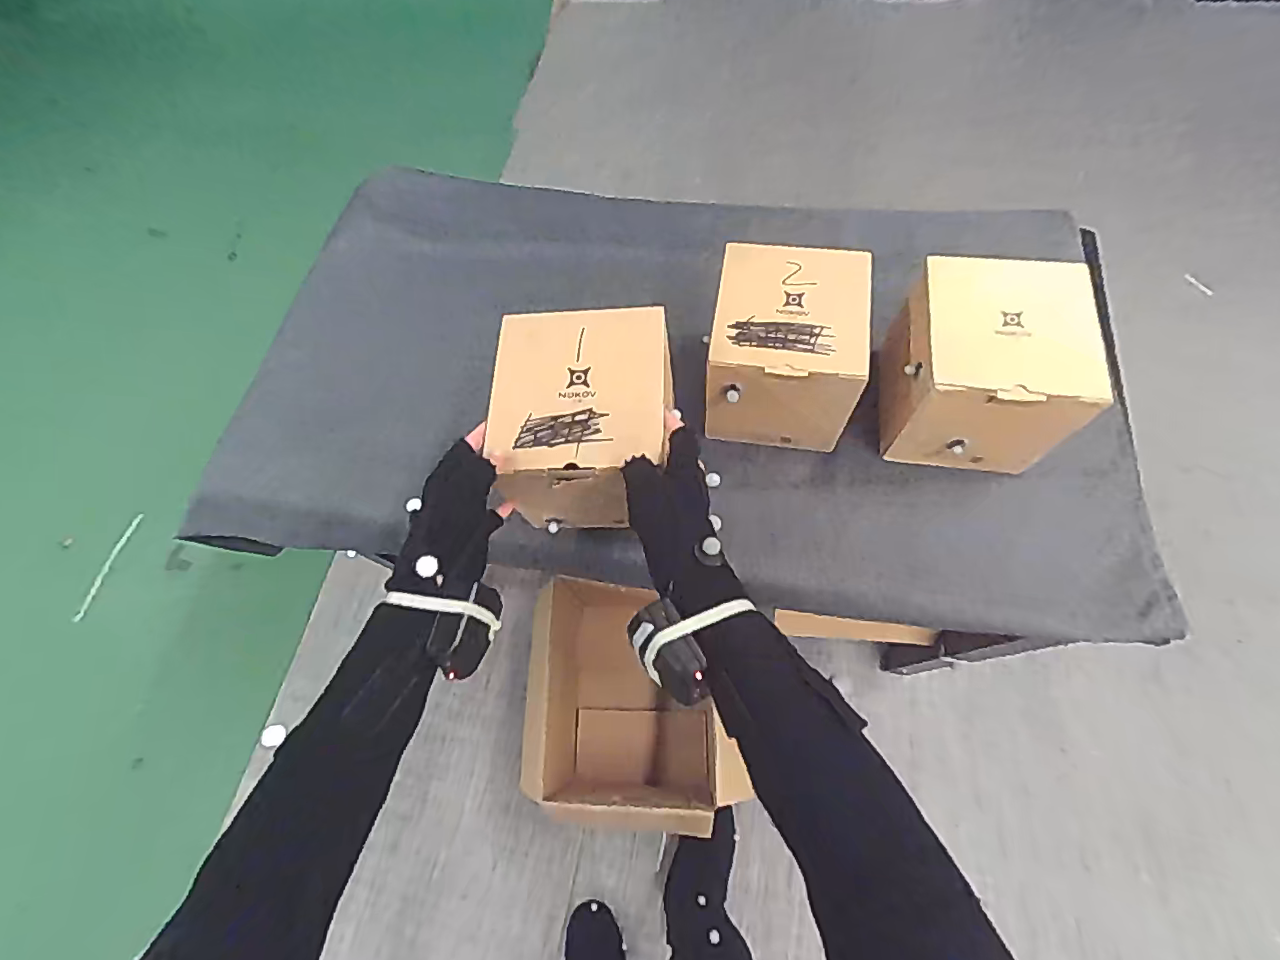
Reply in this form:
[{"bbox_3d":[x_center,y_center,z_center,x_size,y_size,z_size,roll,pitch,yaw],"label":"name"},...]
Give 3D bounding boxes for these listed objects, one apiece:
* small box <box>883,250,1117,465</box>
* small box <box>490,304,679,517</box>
[{"bbox_3d":[0.394,-0.137,0.630,0.168,0.176,0.179,5,67,9],"label":"small box"},{"bbox_3d":[-0.045,-0.062,0.585,0.168,0.176,0.179,-2,68,7],"label":"small box"}]
